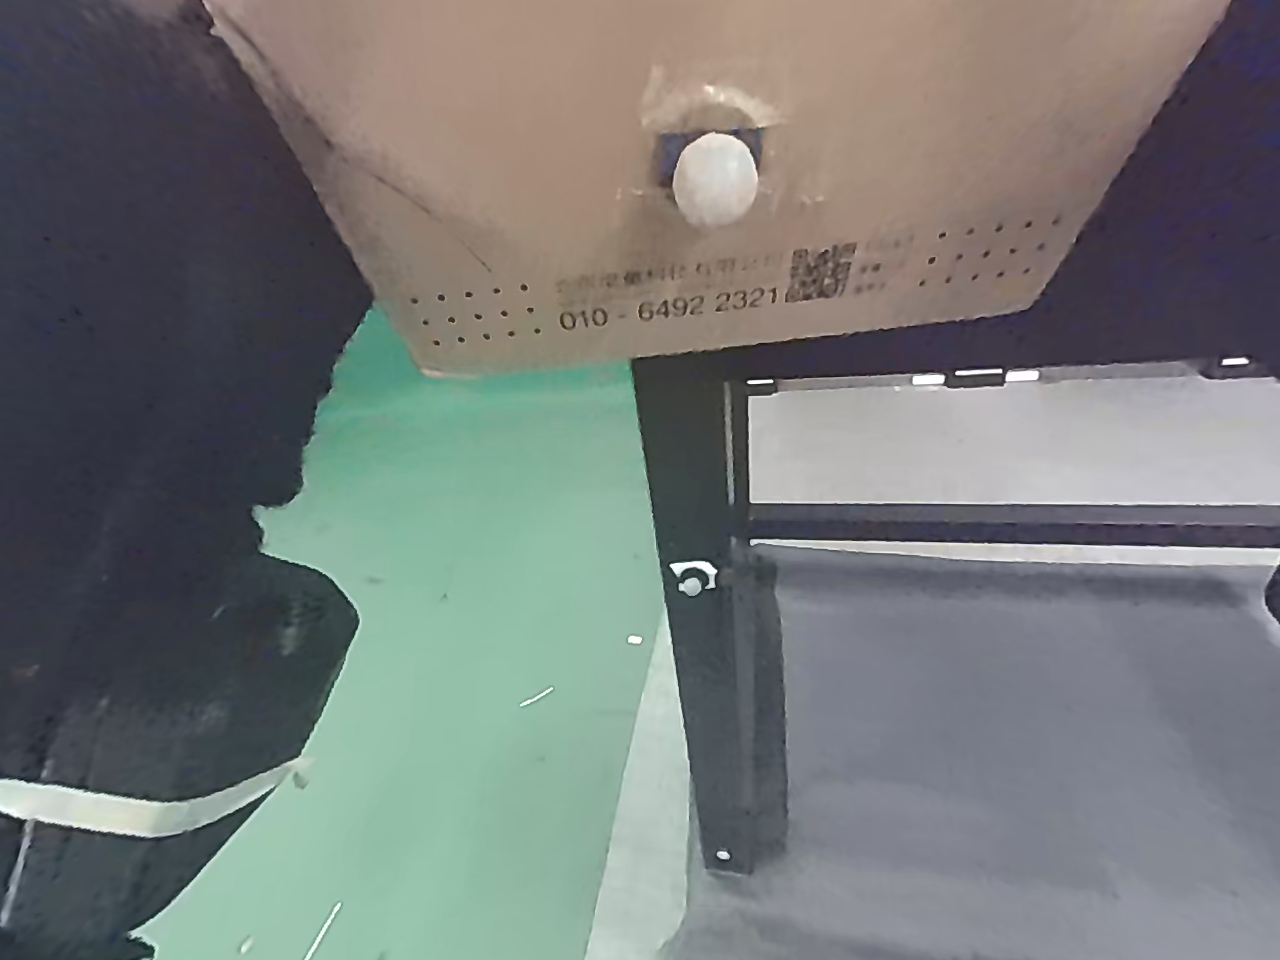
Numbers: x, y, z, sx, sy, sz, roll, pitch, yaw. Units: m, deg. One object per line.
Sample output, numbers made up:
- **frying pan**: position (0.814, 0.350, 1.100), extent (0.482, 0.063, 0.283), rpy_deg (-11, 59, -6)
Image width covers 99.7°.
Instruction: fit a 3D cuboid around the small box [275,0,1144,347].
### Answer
- **small box**: position (0.006, -0.159, 0.132), extent (0.168, 0.176, 0.179), rpy_deg (-7, 57, 1)
